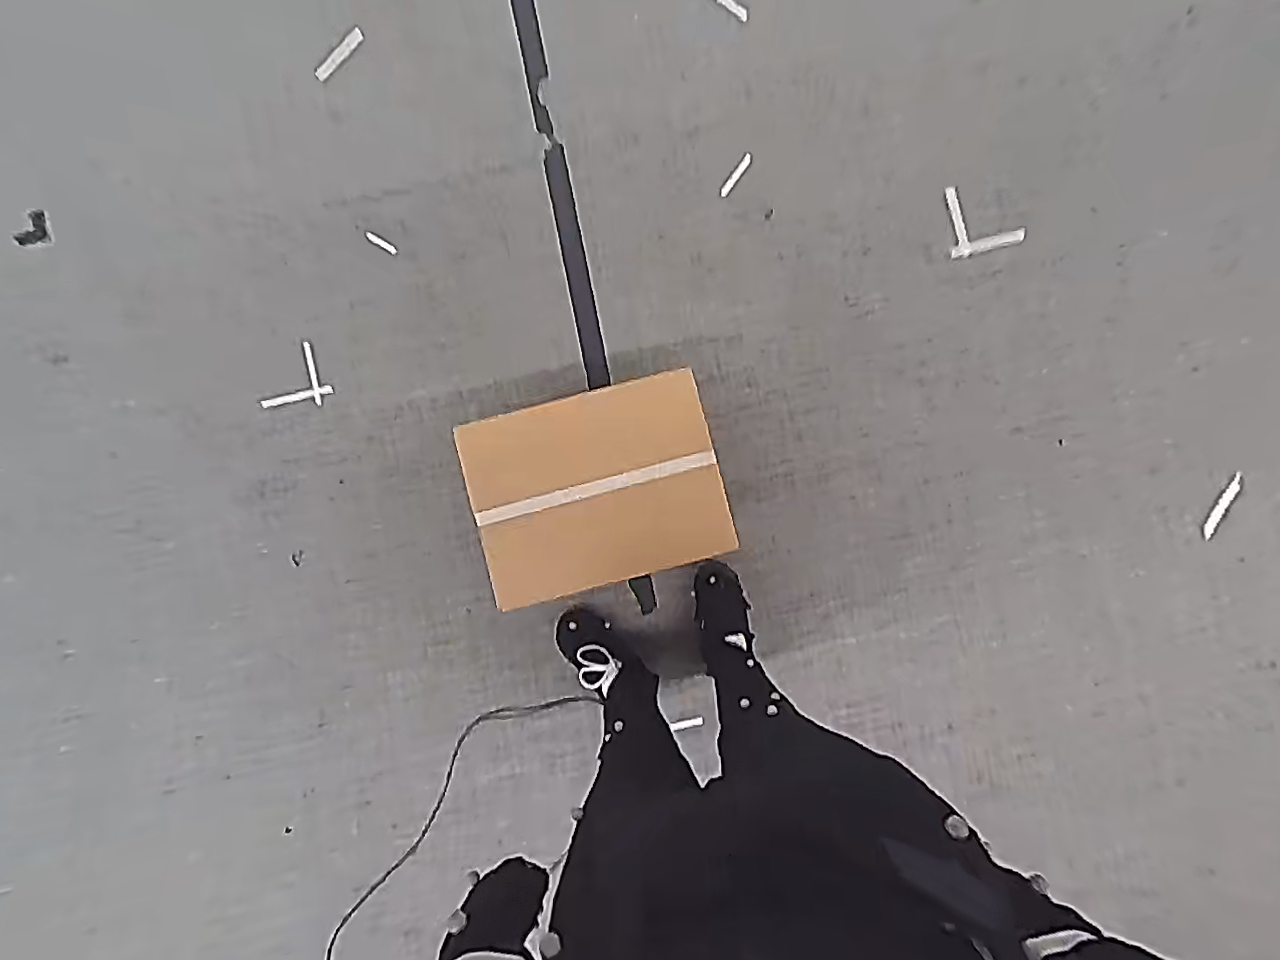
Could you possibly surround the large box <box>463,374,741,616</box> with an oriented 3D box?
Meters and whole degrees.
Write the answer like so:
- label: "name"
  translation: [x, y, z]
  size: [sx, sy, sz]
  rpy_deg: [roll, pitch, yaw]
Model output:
- label: "large box"
  translation: [-0.065, 0.028, 1.035]
  size: [0.408, 0.320, 0.320]
  rpy_deg: [-15, 90, -1]
